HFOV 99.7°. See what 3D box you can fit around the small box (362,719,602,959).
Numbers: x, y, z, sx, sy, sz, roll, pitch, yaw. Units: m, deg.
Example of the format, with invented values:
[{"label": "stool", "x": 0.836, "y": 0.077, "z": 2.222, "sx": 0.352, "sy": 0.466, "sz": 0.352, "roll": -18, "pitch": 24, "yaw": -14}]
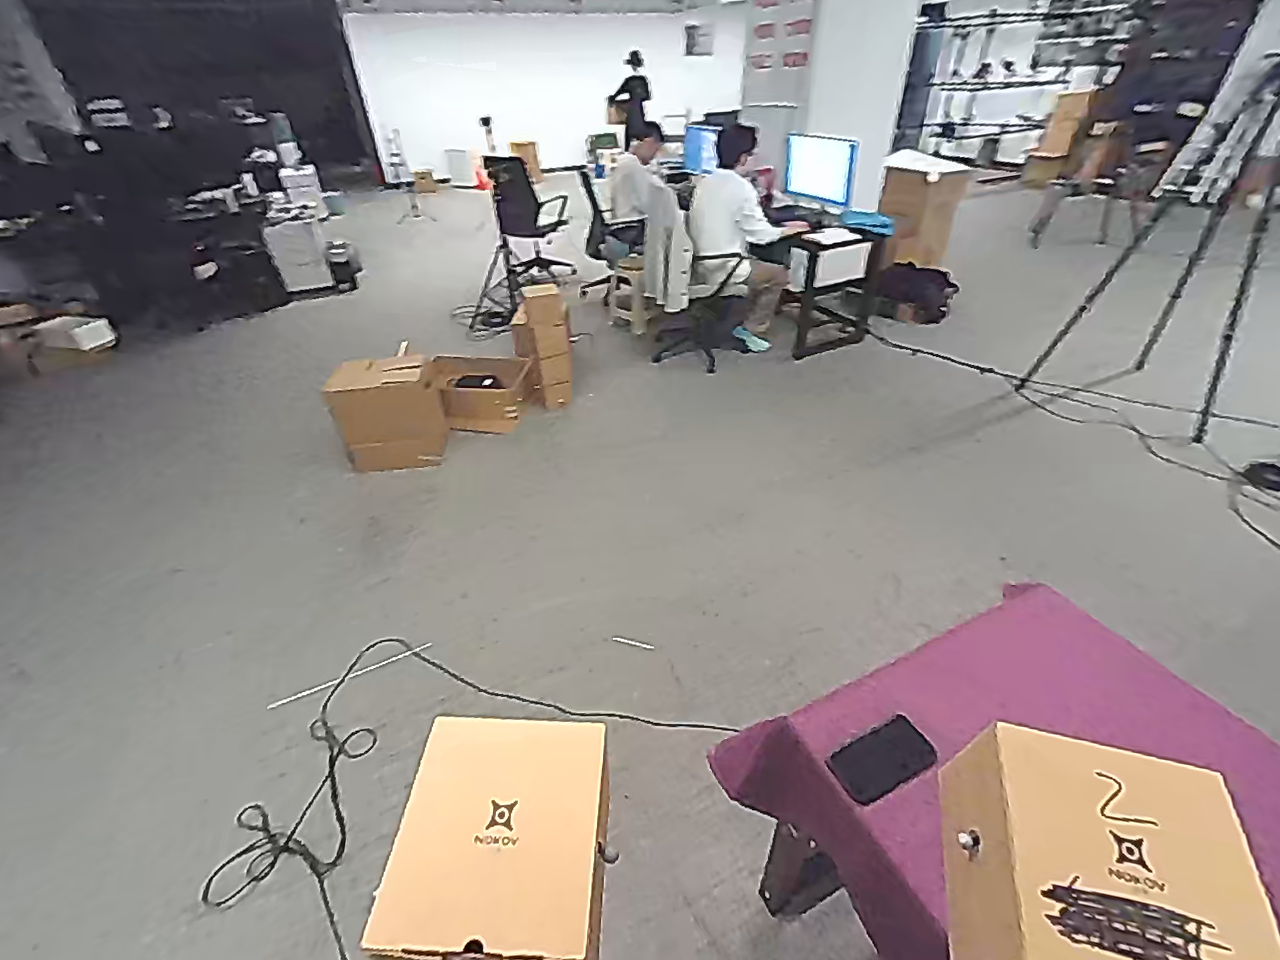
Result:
[{"label": "small box", "x": -0.124, "y": 0.352, "z": 0.510, "sx": 0.168, "sy": 0.176, "sz": 0.179, "roll": 2, "pitch": 41, "yaw": 0}]
